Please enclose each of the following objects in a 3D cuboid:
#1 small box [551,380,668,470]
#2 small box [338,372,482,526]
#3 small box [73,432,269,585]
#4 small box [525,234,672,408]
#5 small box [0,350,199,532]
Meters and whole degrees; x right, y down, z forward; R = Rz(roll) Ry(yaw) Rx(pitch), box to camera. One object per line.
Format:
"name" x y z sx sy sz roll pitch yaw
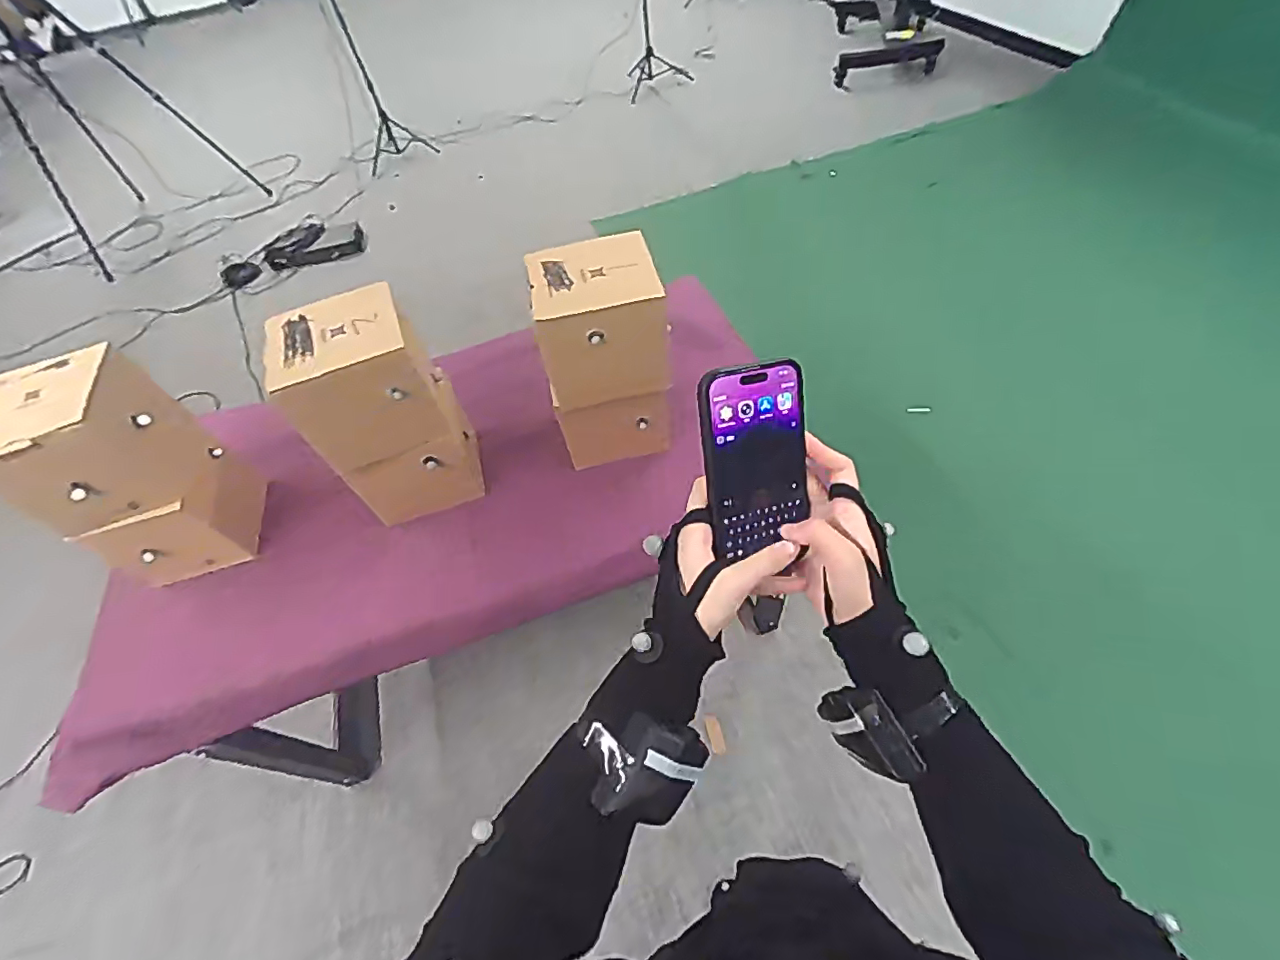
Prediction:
"small box" -0.052 -0.140 0.940 0.179 0.176 0.168 -13 53 0
"small box" -0.379 -0.048 0.918 0.179 0.176 0.168 -18 53 -5
"small box" -0.755 0.056 0.898 0.168 0.176 0.179 -17 54 -5
"small box" -0.059 -0.228 0.800 0.179 0.176 0.168 -13 53 -2
"small box" -0.778 -0.047 0.771 0.168 0.176 0.179 -21 55 -8
